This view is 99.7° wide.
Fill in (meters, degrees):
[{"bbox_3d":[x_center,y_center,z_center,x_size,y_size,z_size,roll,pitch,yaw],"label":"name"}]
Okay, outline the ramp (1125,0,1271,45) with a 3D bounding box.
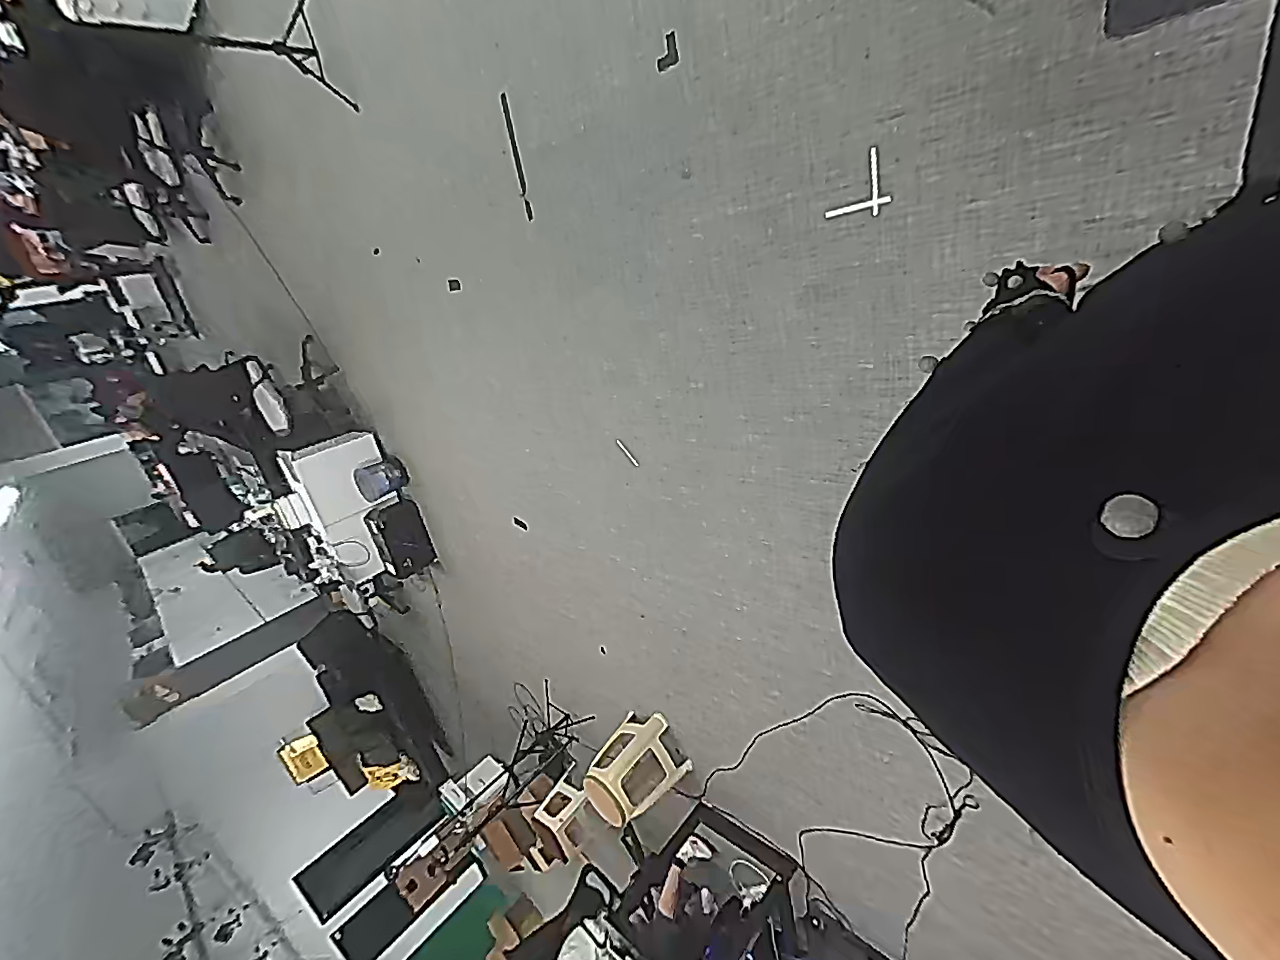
[{"bbox_3d":[0.822,-1.106,0.505,0.509,0.206,0.991,6,117,44],"label":"ramp"}]
